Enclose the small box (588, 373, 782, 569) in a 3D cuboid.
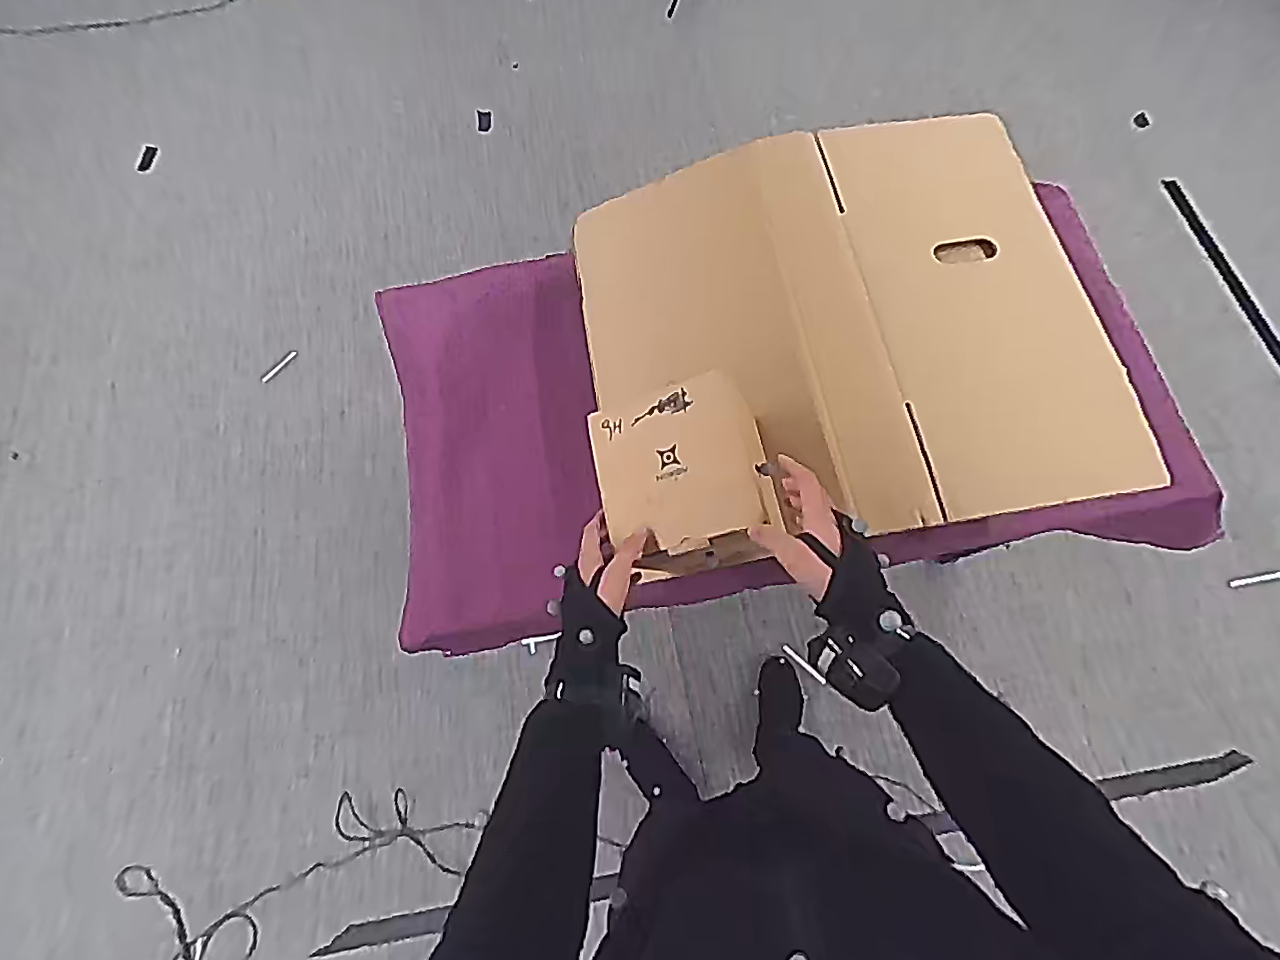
[{"bbox_3d":[0.061,0.004,0.642,0.168,0.176,0.179,-17,73,18],"label":"small box"}]
